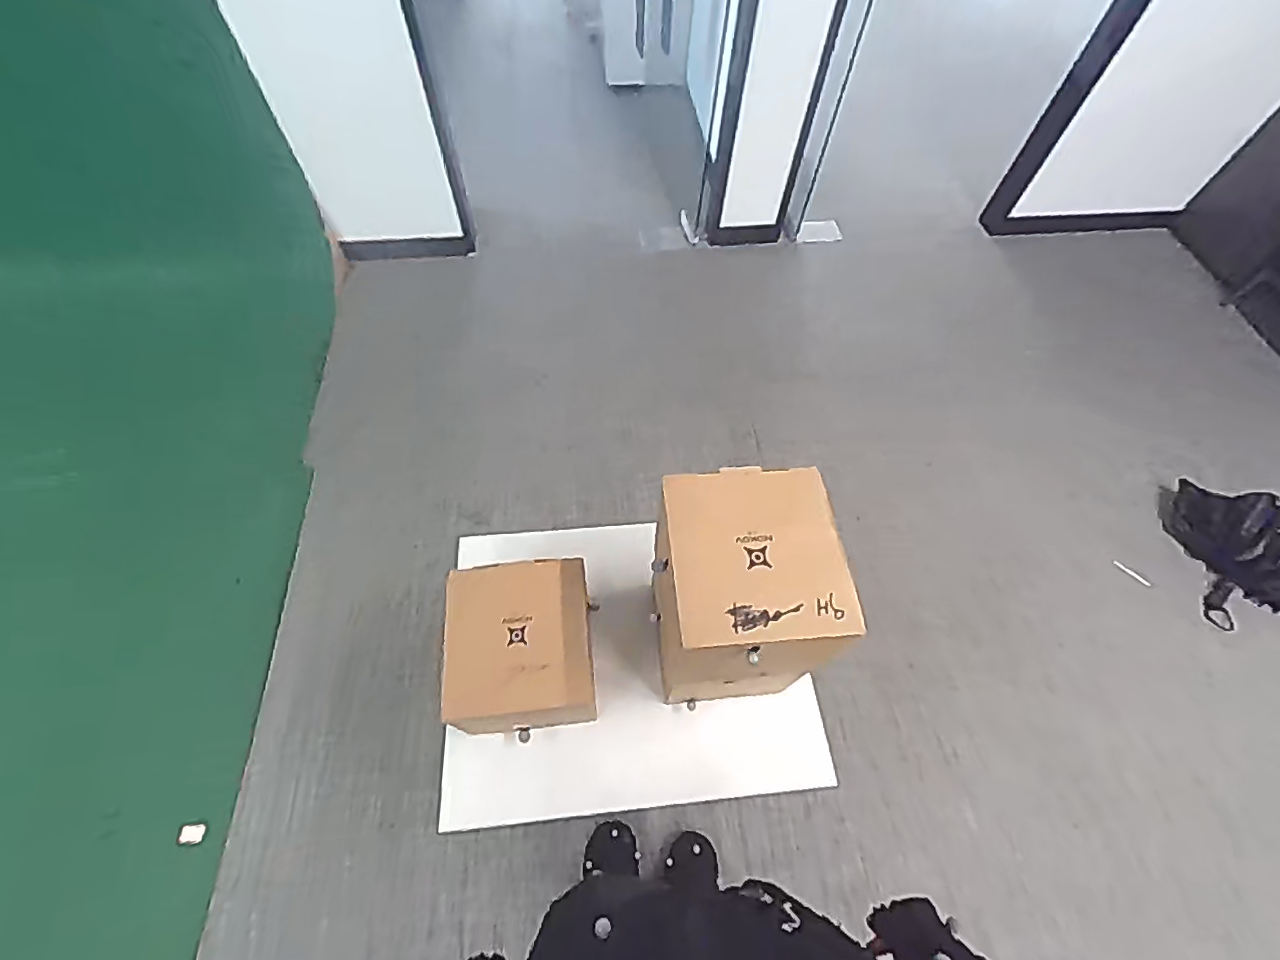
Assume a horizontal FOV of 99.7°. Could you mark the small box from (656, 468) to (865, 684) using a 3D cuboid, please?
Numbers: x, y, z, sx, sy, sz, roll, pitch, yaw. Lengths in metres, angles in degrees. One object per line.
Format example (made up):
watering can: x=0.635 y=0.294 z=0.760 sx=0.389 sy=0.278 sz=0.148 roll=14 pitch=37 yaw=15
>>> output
small box: x=0.109 y=0.107 z=0.581 sx=0.168 sy=0.176 sz=0.179 roll=-4 pitch=59 yaw=-3

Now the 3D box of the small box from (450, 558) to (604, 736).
small box: x=-0.138 y=0.220 z=0.701 sx=0.168 sy=0.176 sz=0.179 roll=-7 pitch=61 yaw=-5
